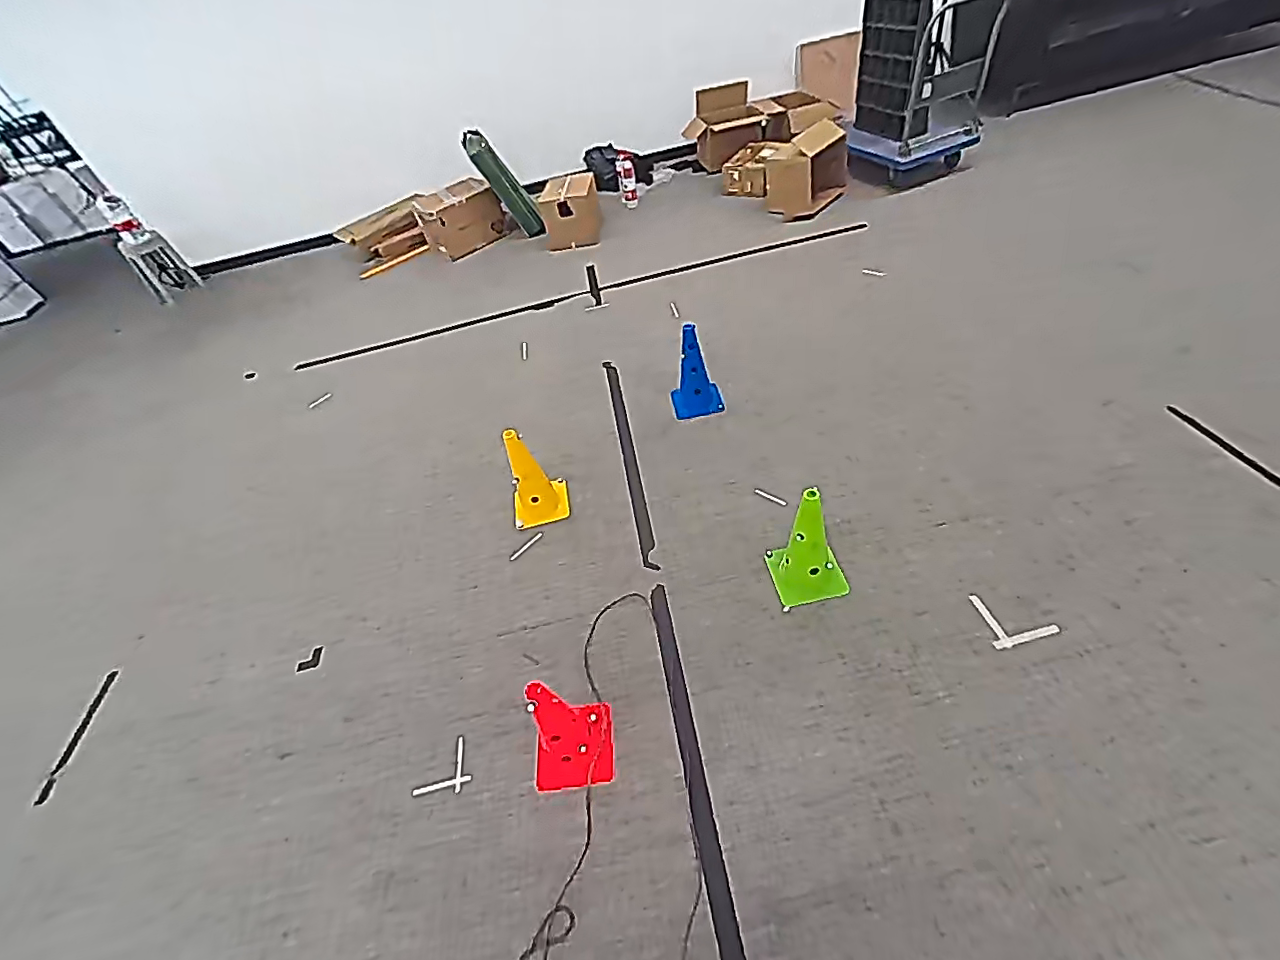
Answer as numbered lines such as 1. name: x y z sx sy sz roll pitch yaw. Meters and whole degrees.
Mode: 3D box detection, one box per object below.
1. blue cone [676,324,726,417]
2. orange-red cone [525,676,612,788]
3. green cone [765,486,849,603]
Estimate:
1. blue cone: 0.228 -0.444 2.151 0.192 0.380 0.193 -10 46 3
2. orange-red cone: -0.199 0.560 1.275 0.199 0.360 0.198 -11 44 5
3. green cone: 0.471 0.156 1.499 0.202 0.368 0.200 -12 45 0
